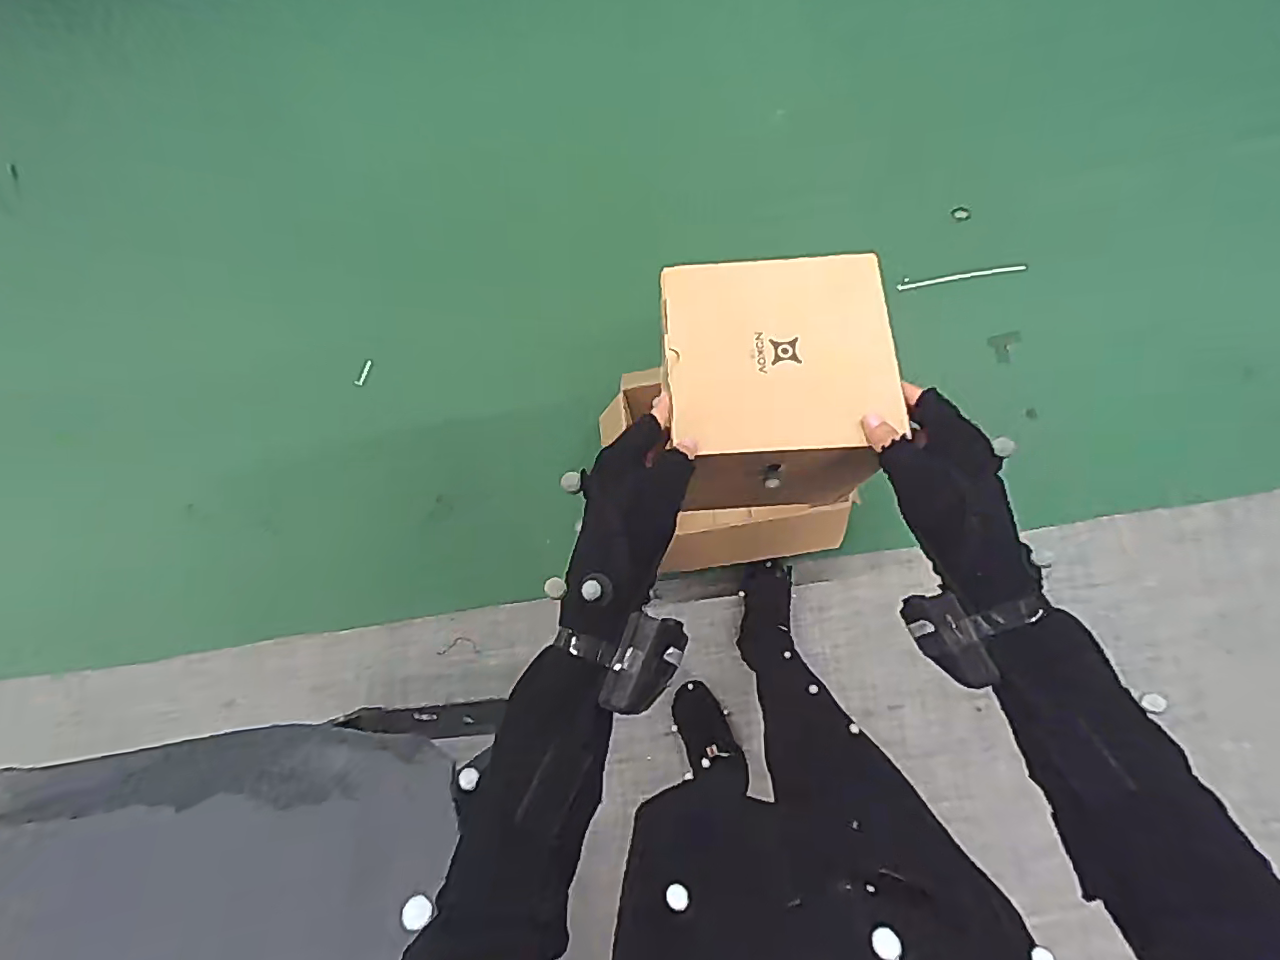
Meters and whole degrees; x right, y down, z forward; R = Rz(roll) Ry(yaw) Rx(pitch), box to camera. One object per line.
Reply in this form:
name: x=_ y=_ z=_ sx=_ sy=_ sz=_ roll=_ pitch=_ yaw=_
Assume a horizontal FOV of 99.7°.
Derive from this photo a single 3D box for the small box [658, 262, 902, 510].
small box: x=0.107 y=-0.072 z=0.496 sx=0.179 sy=0.176 sz=0.168 roll=-3 pitch=72 yaw=3
